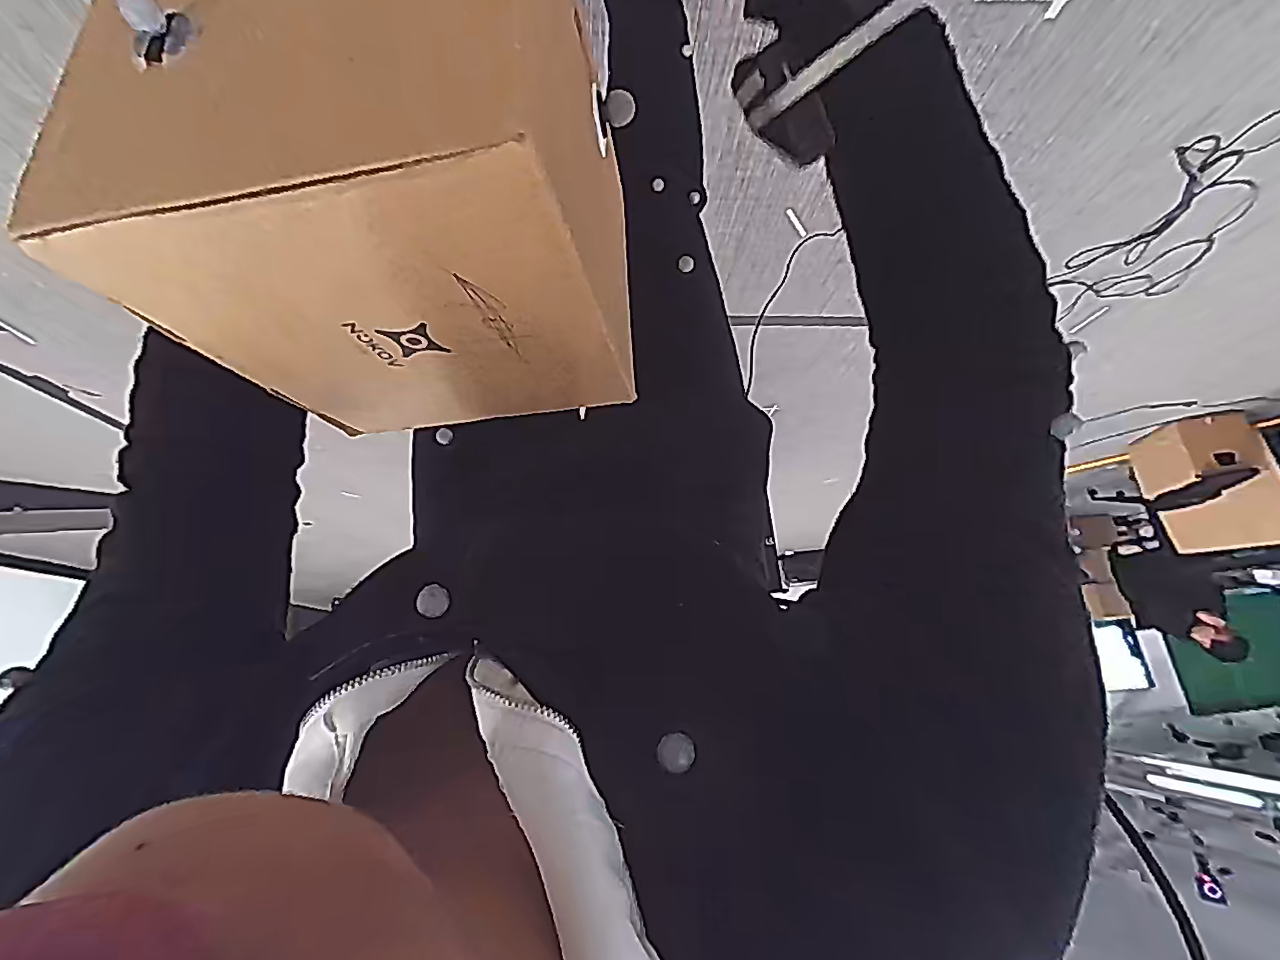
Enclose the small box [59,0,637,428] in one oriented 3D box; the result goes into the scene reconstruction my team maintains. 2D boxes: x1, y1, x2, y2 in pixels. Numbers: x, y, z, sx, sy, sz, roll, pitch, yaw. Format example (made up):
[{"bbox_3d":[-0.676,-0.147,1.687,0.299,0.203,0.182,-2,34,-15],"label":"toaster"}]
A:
[{"bbox_3d":[-0.103,-0.143,0.268,0.179,0.176,0.168,-7,163,8],"label":"small box"}]
